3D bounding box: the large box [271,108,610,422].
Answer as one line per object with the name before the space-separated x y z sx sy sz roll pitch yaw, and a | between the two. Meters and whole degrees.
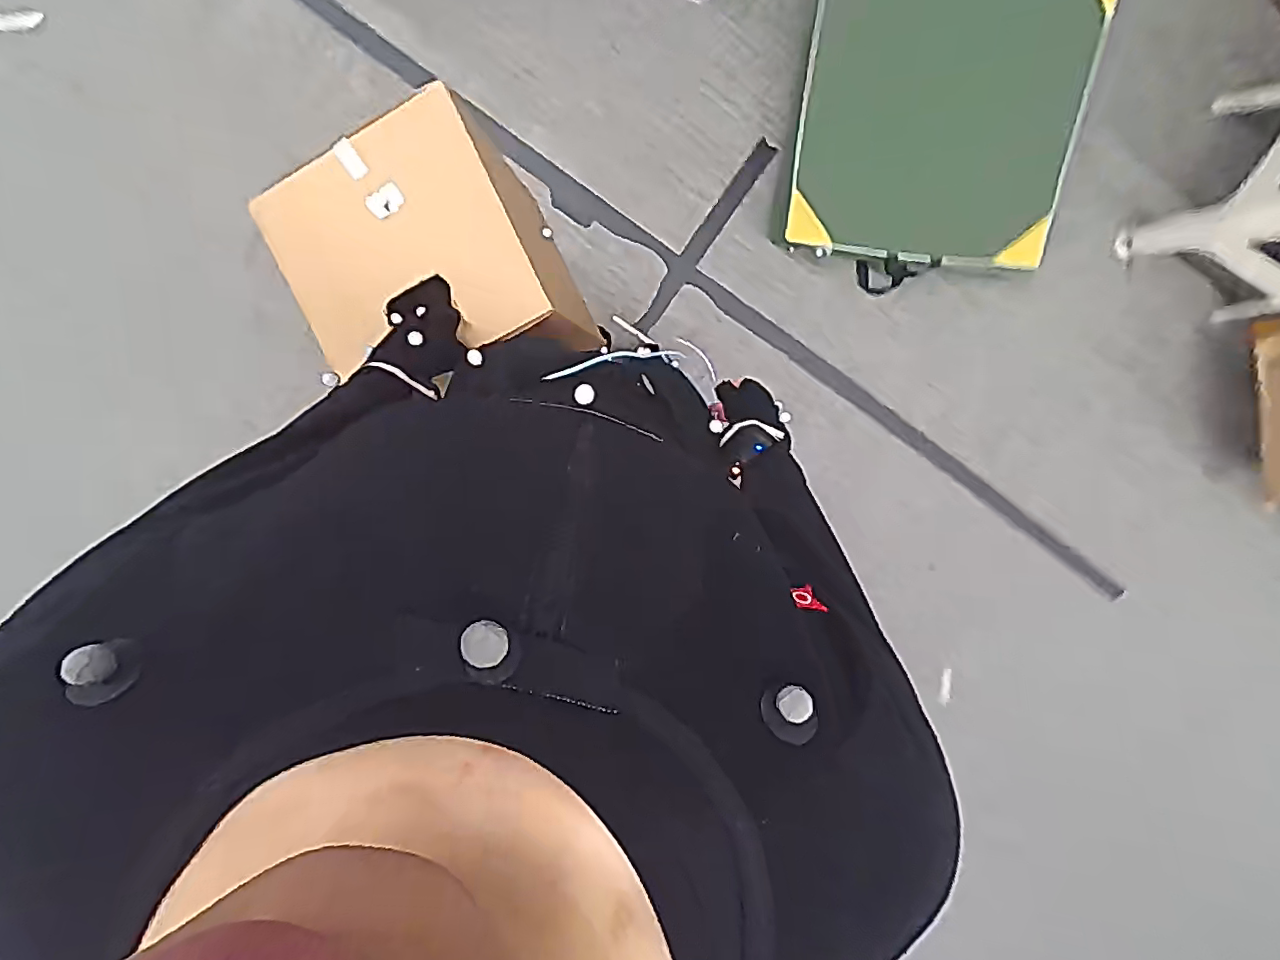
large box | -0.283 -0.309 0.905 0.320 0.408 0.320 -24 96 9
